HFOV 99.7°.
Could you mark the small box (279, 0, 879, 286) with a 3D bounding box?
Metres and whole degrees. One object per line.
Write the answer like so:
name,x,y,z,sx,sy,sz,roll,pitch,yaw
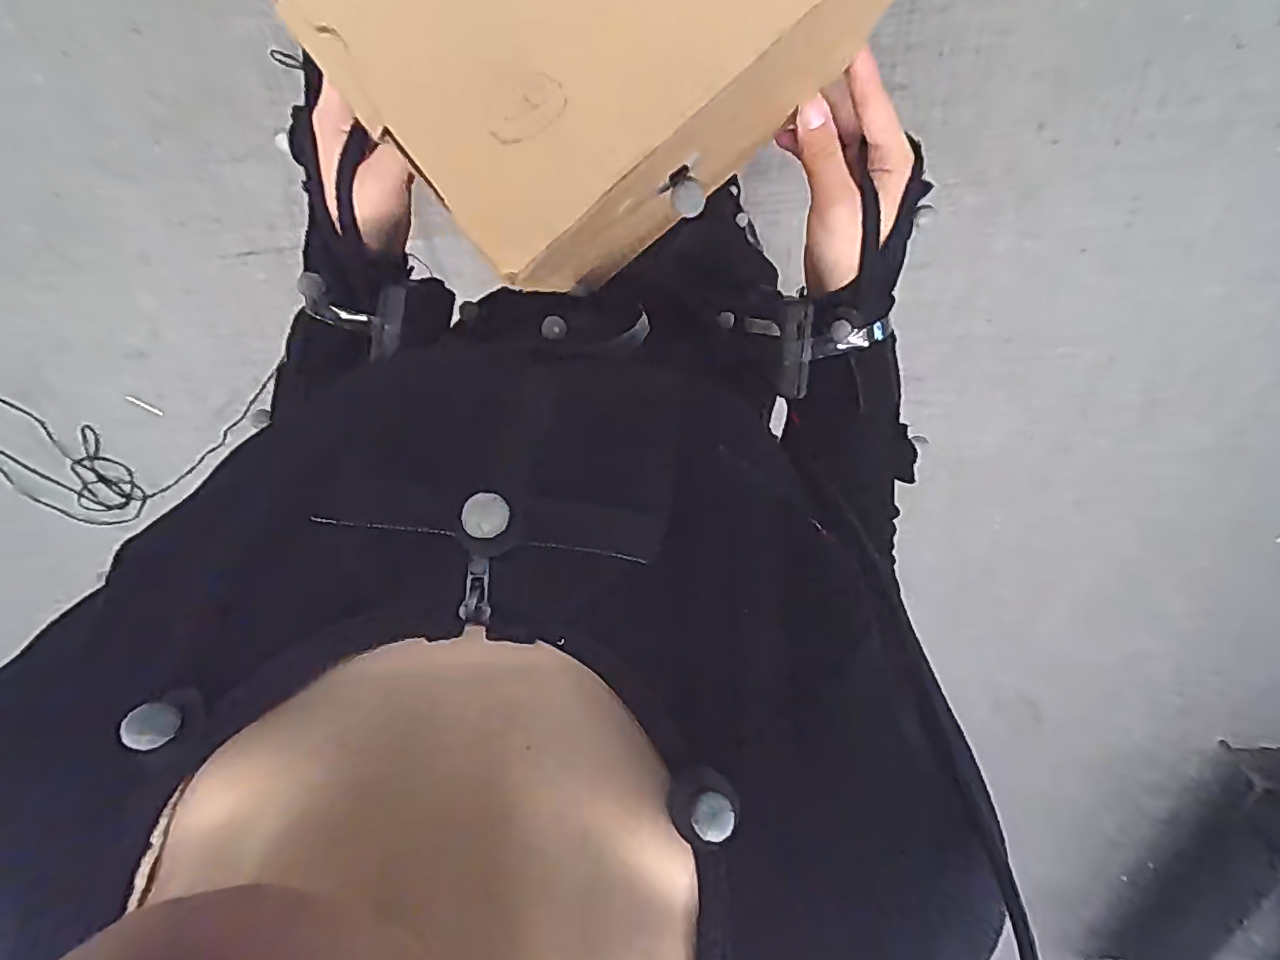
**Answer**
small box,-0.018,-0.199,0.223,0.179,0.176,0.168,-36,102,14
